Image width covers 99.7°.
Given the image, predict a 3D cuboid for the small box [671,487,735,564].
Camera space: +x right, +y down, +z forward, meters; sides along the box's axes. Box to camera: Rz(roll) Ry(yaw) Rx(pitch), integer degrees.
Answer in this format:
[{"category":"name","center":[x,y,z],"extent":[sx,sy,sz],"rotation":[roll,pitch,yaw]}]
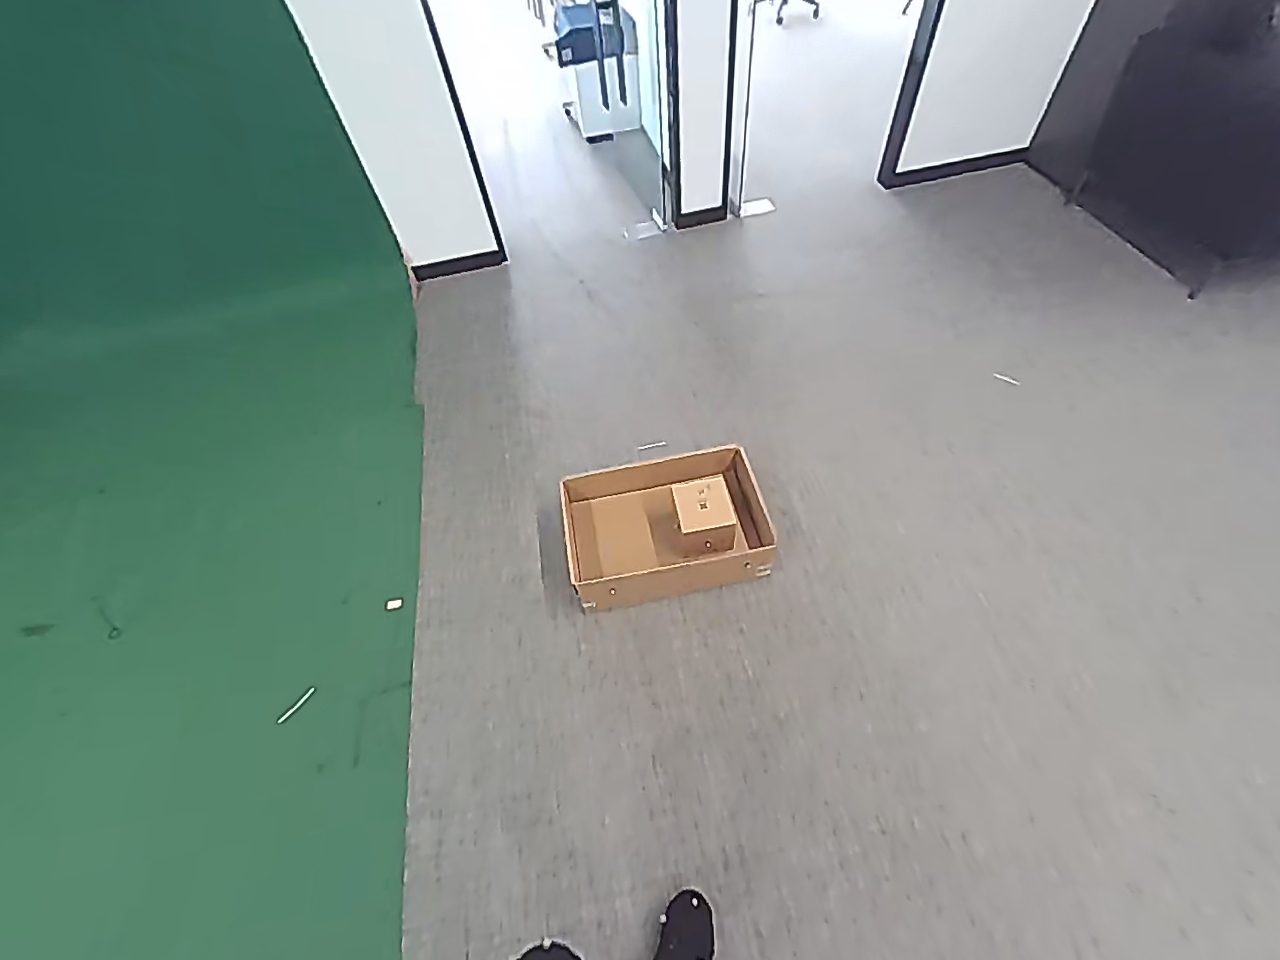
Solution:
[{"category":"small box","center":[0.197,0.149,1.691],"extent":[0.168,0.176,0.179],"rotation":[-10,53,-2]}]
